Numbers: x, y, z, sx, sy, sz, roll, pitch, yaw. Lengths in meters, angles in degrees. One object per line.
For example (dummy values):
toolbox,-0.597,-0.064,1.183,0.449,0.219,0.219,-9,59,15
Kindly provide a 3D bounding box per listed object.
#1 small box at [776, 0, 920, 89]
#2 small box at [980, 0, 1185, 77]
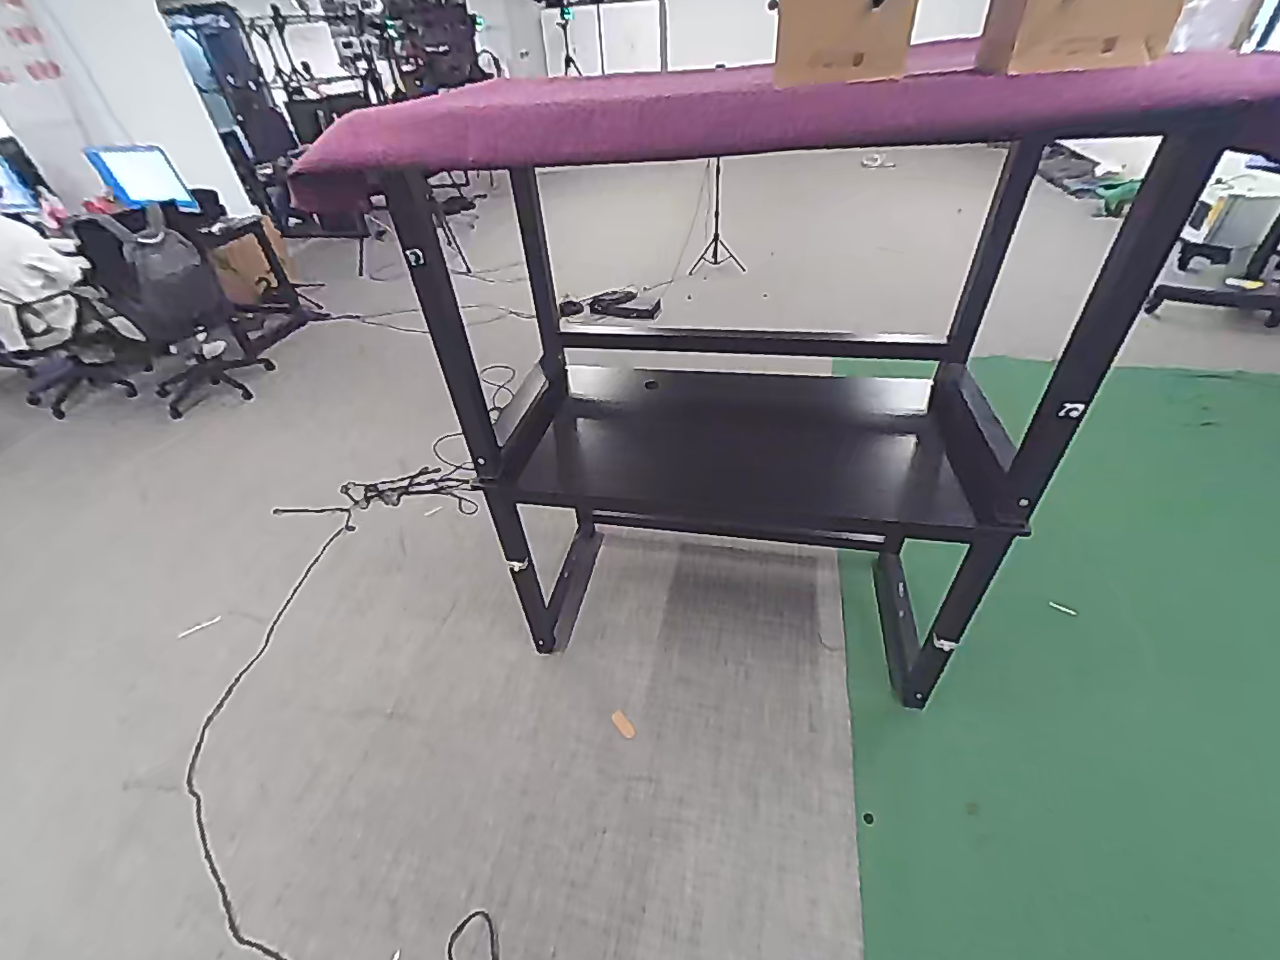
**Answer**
small box,0.279,-0.638,0.731,0.168,0.176,0.179,6,39,11
small box,0.553,-0.610,0.669,0.168,0.176,0.179,5,40,13
